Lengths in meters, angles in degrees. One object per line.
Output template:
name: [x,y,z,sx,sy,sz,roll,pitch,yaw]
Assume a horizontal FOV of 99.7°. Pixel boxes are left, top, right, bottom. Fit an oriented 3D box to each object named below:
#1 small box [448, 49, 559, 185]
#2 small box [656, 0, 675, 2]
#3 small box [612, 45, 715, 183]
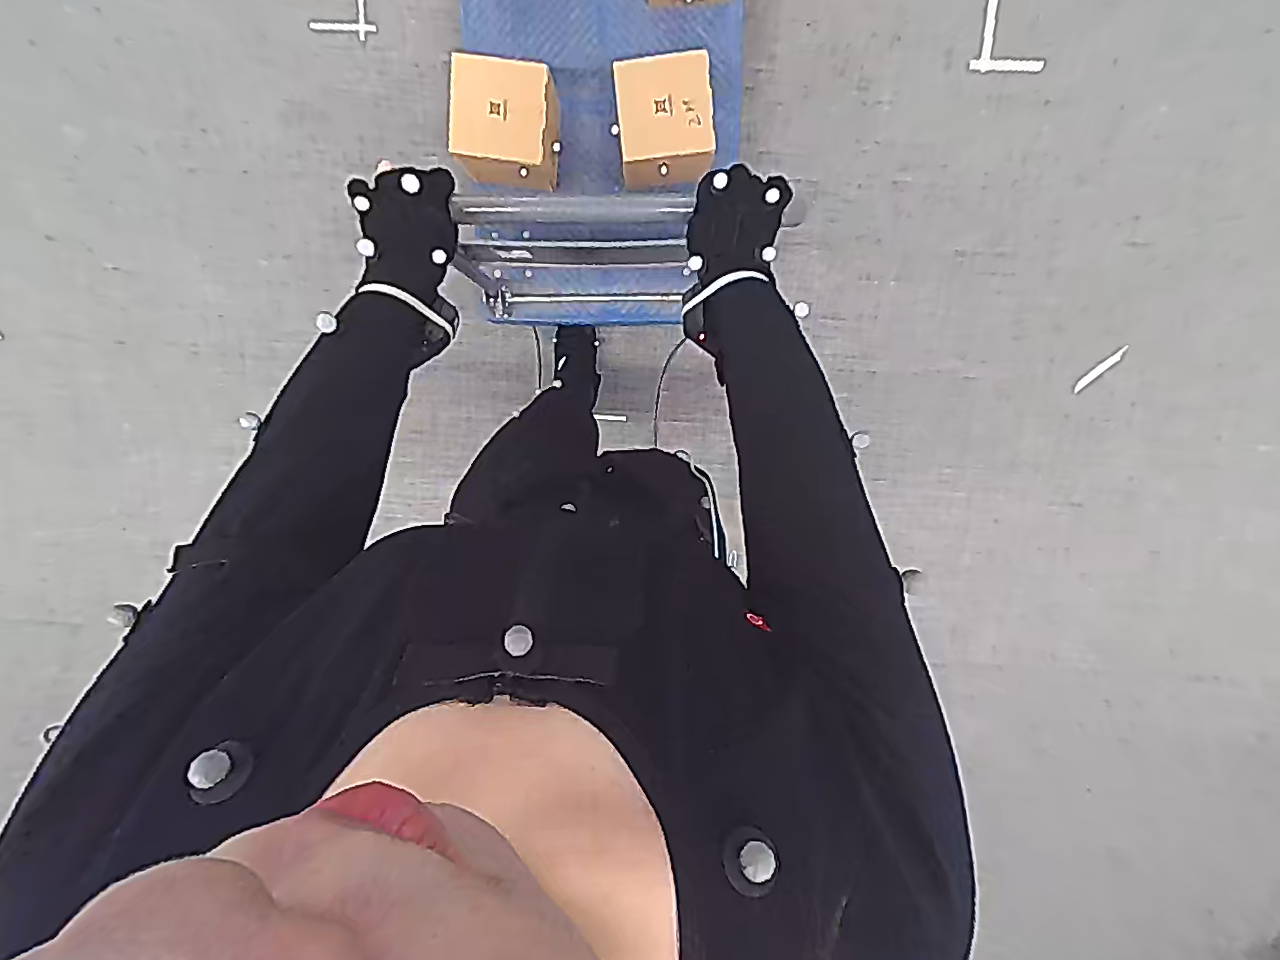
small box: [-0.260,-0.695,1.056,0.179,0.176,0.168,5,102,-2]
small box: [0.091,-1.025,0.981,0.168,0.176,0.179,-5,104,1]
small box: [0.045,-0.699,1.054,0.179,0.176,0.168,-7,102,2]
